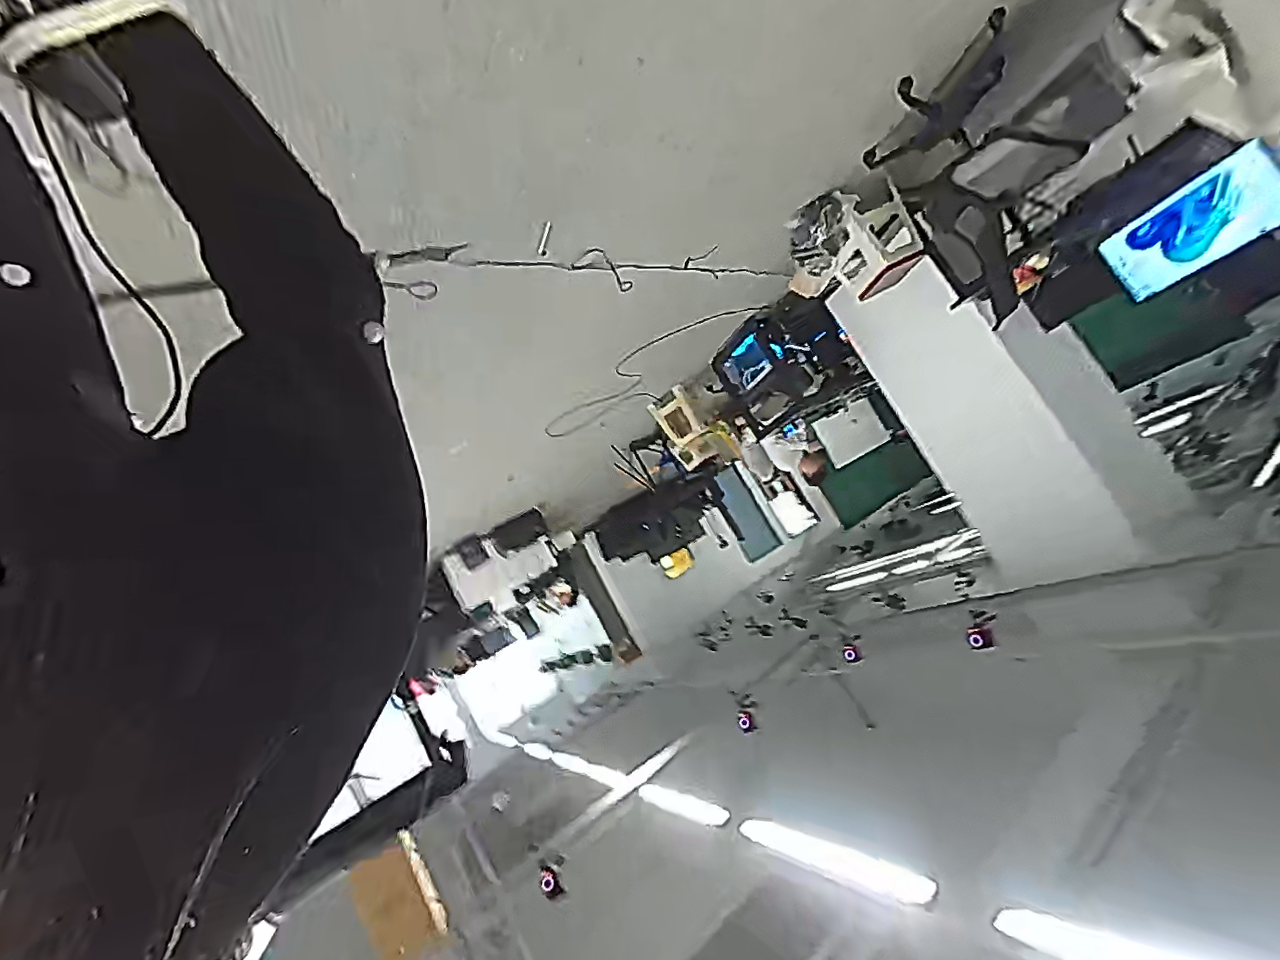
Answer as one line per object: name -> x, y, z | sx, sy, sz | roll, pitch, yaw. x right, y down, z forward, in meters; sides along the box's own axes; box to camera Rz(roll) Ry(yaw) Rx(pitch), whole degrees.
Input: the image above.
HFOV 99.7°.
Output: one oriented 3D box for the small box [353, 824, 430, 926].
small box -> -0.766, 1.208, 1.670 | 0.168, 0.176, 0.179 | -24, 171, -27
